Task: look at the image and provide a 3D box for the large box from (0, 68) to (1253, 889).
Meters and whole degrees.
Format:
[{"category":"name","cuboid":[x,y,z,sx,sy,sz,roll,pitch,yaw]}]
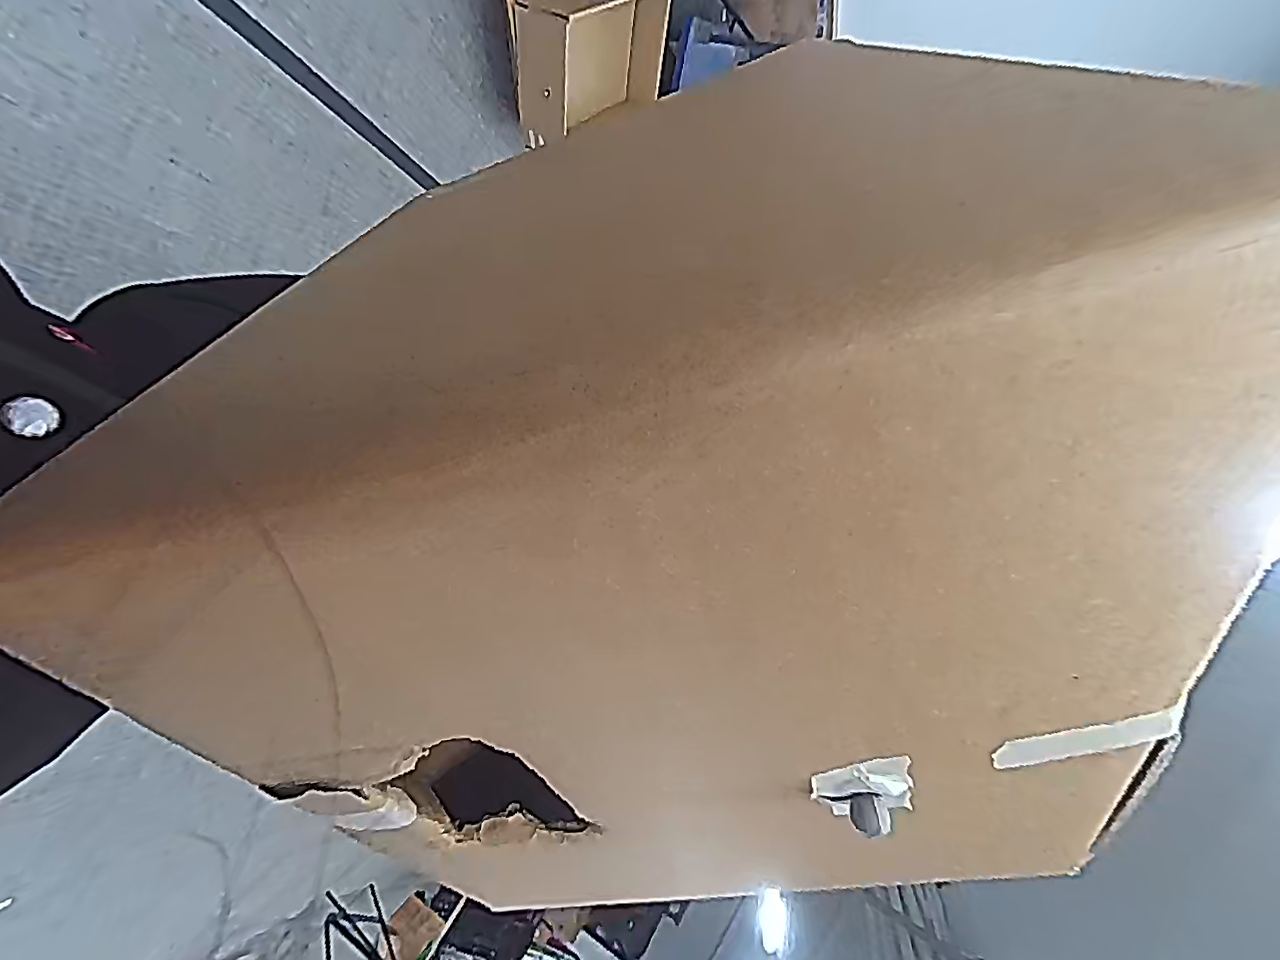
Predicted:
[{"category":"large box","cuboid":[0.011,-0.026,0.351,0.408,0.320,0.320,-87,161,-50]}]
